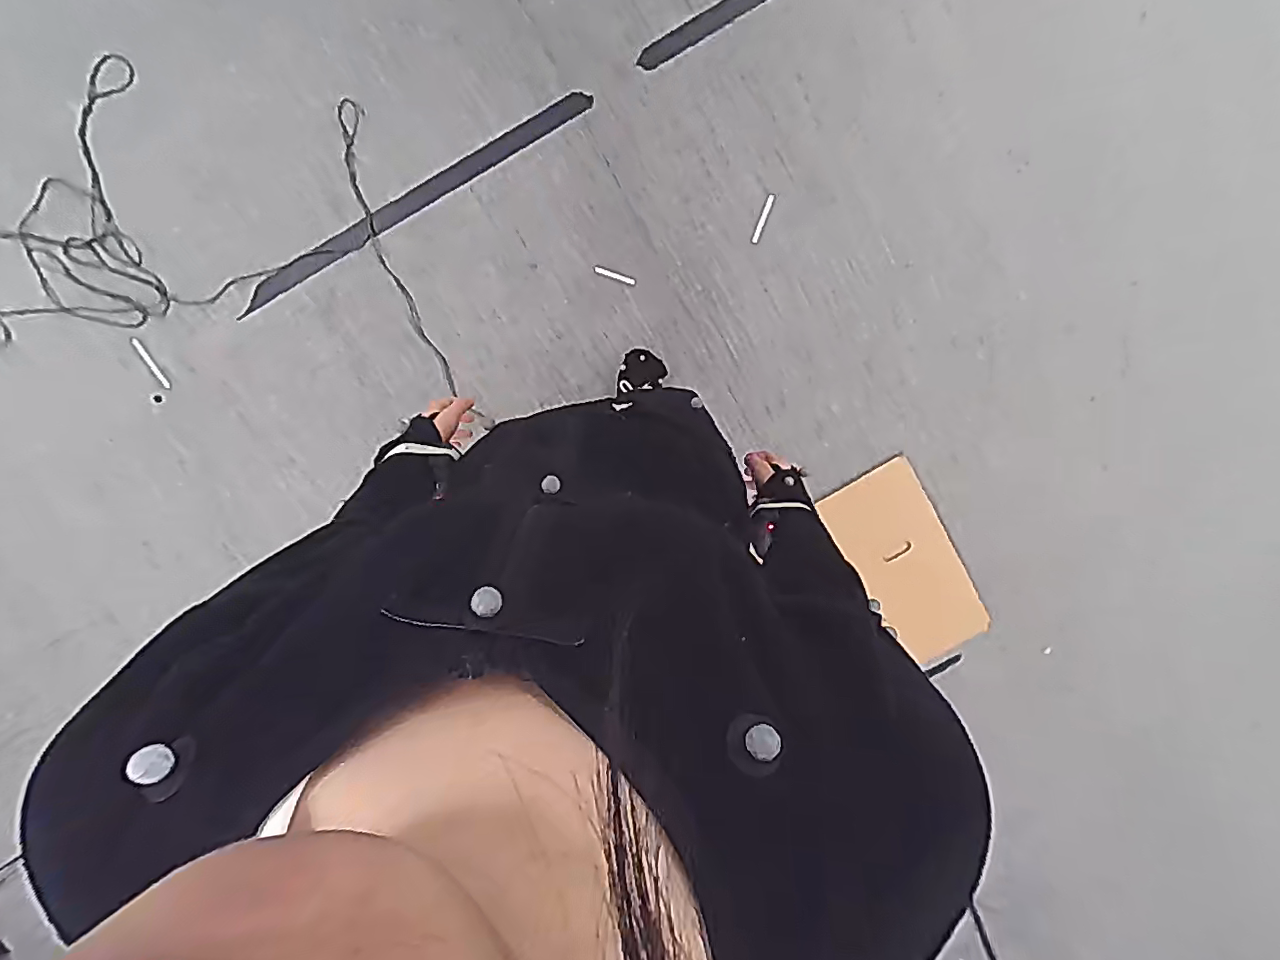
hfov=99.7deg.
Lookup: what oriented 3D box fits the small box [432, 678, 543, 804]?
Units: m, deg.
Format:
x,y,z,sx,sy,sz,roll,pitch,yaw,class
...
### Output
x,y,z,sx,sy,sz,roll,pitch,yaw,class
-0.329,0.572,1.205,0.179,0.176,0.168,20,100,-4,small box
